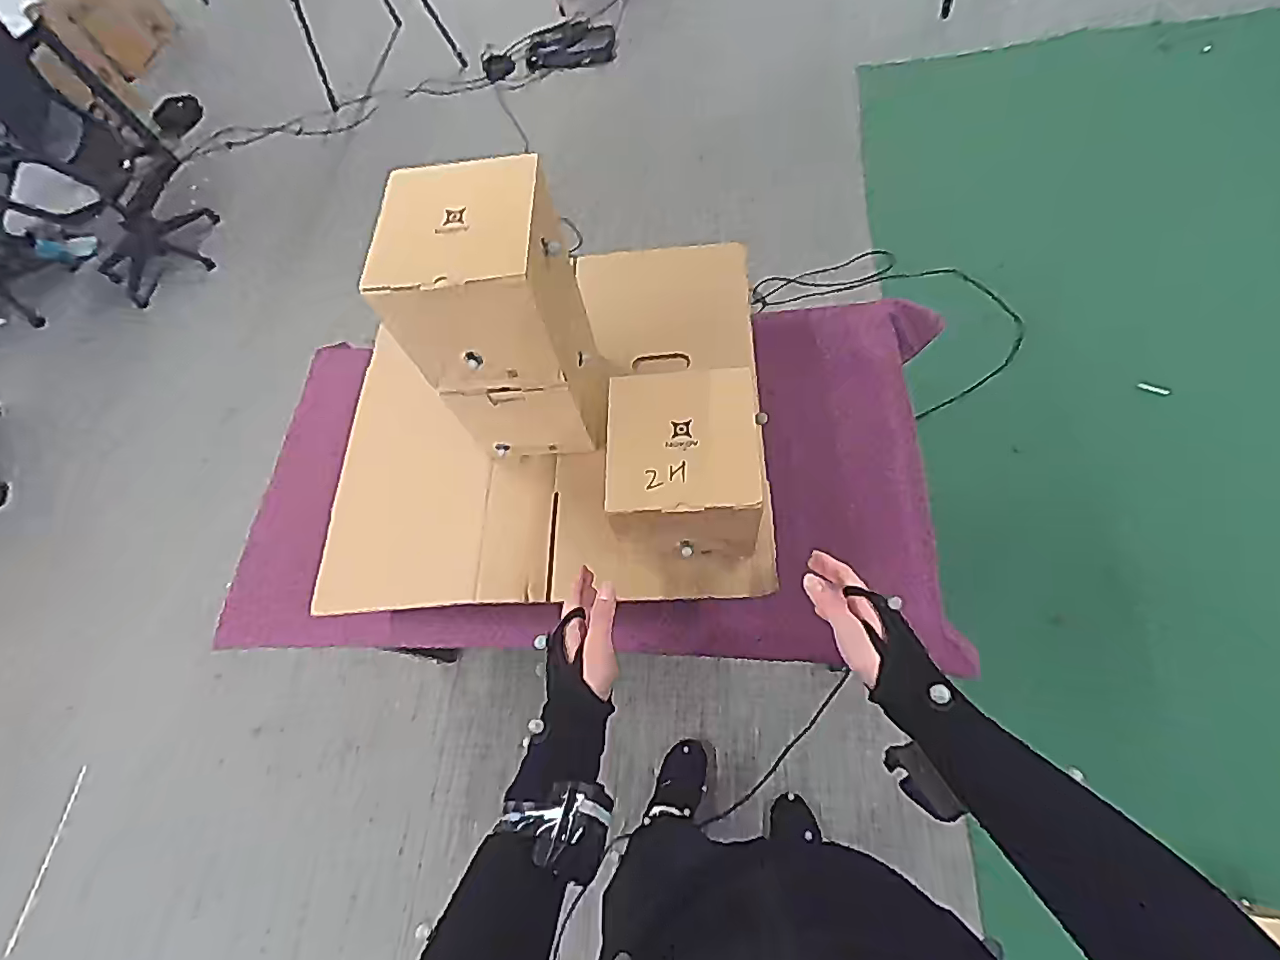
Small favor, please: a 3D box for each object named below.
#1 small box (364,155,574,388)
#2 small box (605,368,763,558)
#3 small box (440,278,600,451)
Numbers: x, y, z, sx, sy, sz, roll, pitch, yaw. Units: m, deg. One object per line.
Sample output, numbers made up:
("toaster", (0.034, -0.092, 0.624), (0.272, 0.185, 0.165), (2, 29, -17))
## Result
("small box", (-0.173, -0.225, 0.610), (0.168, 0.176, 0.179), (-3, 65, 5))
("small box", (0.056, -0.014, 0.659), (0.168, 0.176, 0.179), (-2, 65, 8))
("small box", (-0.152, -0.149, 0.752), (0.168, 0.176, 0.179), (-3, 64, 6))
